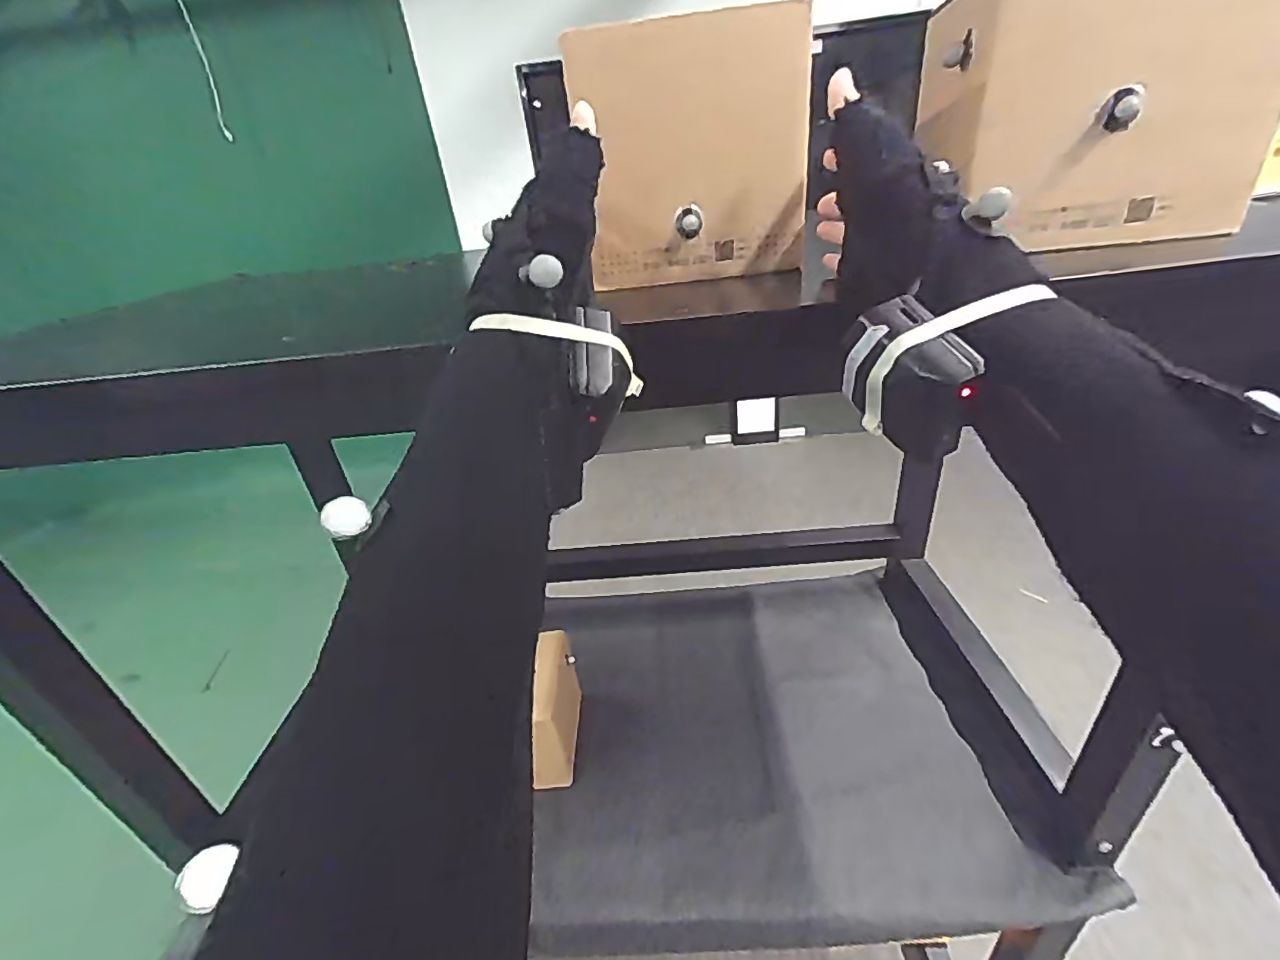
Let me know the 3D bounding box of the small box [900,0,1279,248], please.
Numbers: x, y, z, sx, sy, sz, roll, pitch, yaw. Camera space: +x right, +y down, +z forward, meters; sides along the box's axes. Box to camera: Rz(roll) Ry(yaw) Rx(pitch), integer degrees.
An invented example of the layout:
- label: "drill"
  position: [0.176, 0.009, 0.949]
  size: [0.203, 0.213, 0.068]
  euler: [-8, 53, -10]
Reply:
- label: "small box"
  position: [0.302, -0.272, 0.396]
  size: [0.168, 0.176, 0.179]
  euler: [0, 30, 13]
